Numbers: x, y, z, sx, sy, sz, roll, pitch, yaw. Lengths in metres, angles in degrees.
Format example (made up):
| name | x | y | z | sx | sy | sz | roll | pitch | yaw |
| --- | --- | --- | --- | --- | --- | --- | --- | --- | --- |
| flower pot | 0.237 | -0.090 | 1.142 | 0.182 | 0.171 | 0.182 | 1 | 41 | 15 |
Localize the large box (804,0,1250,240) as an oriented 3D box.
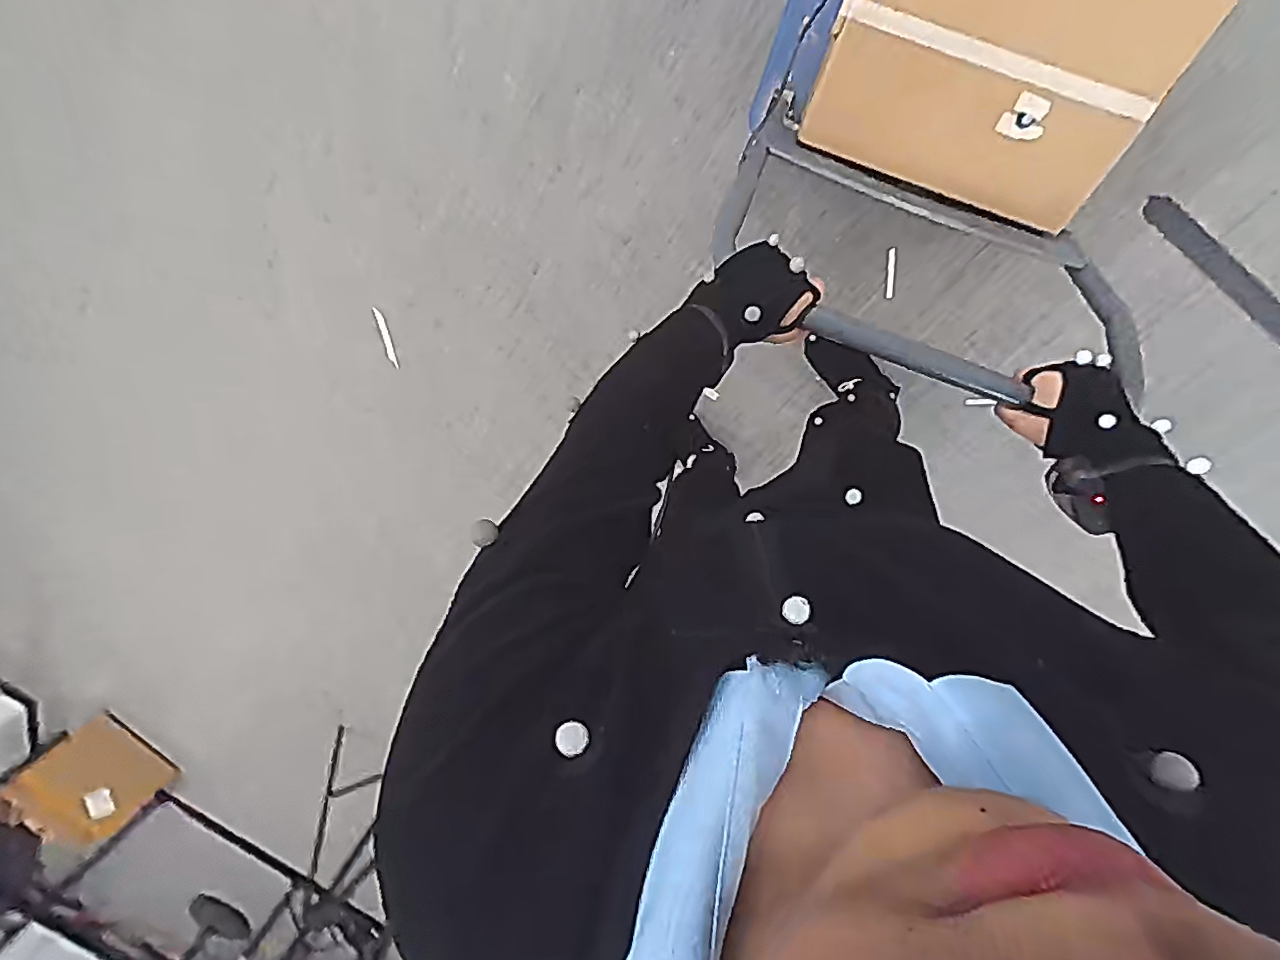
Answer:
| name | x | y | z | sx | sy | sz | roll | pitch | yaw |
| --- | --- | --- | --- | --- | --- | --- | --- | --- | --- |
| large box | 0.490 | -0.608 | 0.785 | 0.408 | 0.320 | 0.320 | 21 | 133 | 0 |
